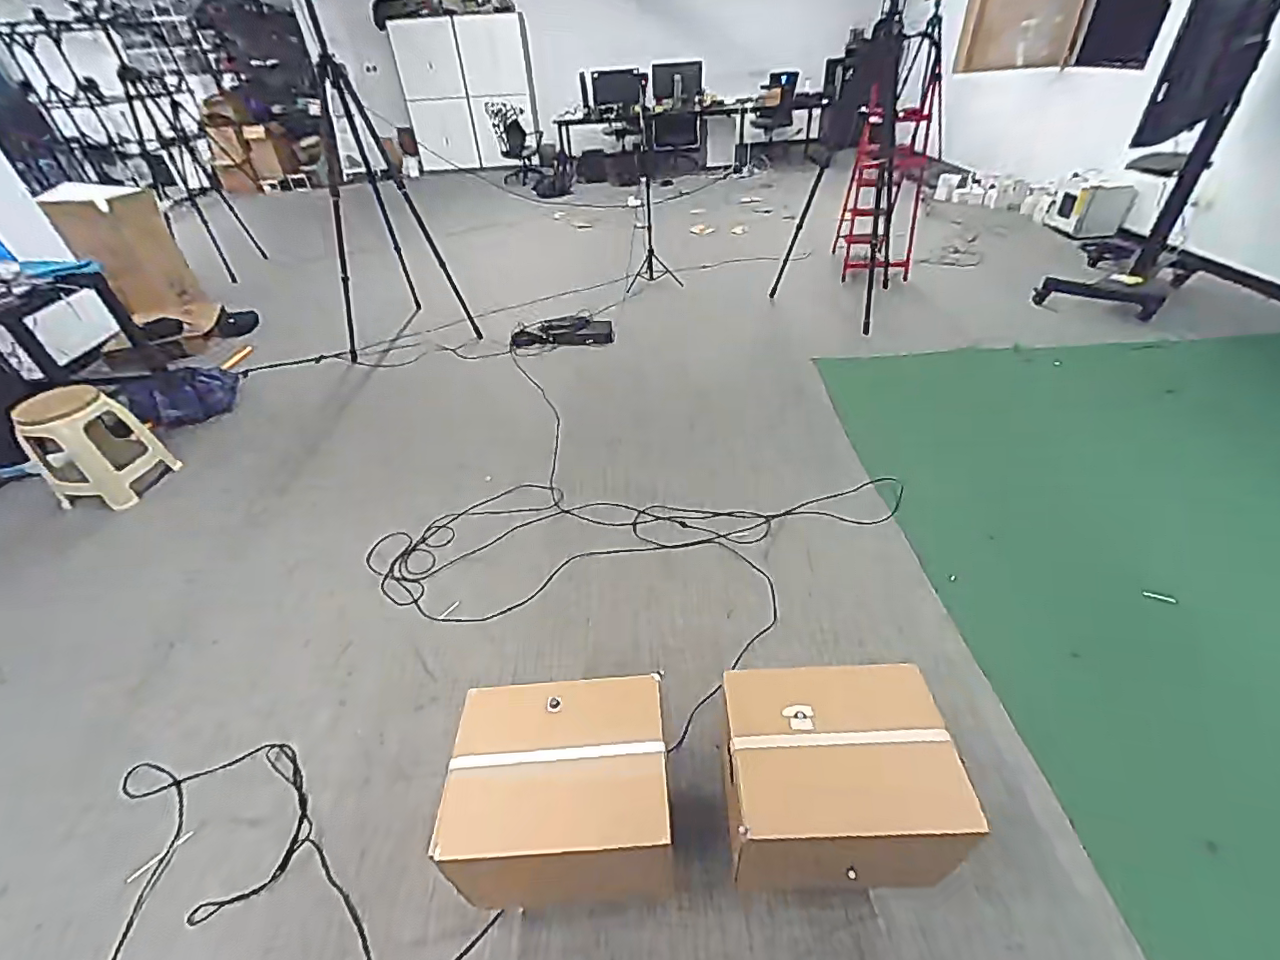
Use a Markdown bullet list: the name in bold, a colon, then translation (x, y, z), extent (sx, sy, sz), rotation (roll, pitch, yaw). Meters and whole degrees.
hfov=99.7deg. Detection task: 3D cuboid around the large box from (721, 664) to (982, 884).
- **large box**: translation (0.389, 0.609, 1.120), extent (0.408, 0.320, 0.320), rotation (-3, 39, 2)
